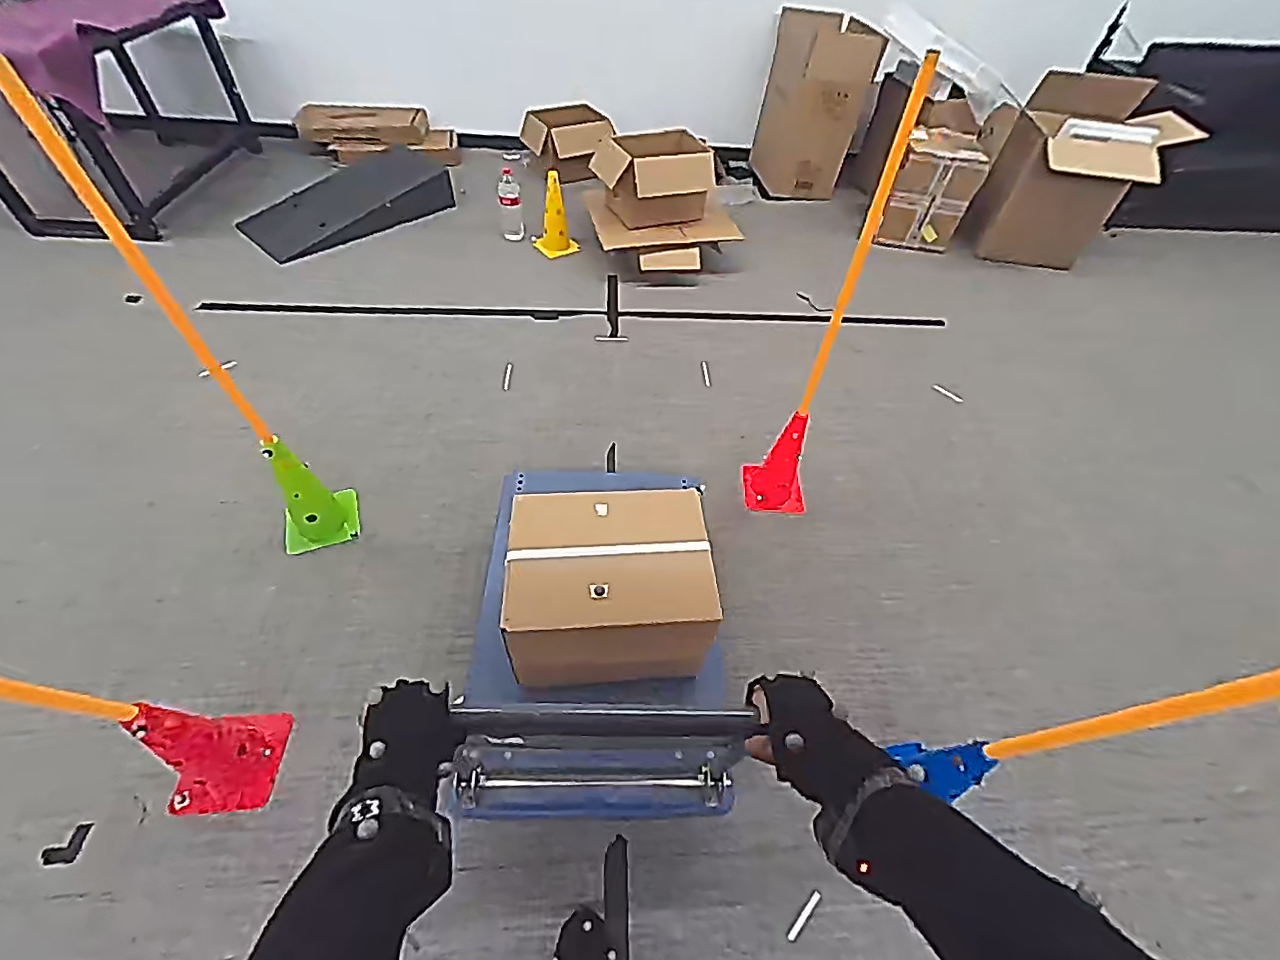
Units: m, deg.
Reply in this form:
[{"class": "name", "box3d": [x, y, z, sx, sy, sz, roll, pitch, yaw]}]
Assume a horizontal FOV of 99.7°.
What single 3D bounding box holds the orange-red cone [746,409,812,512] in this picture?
[{"class": "orange-red cone", "box3d": [0.476, -0.084, 1.715, 0.199, 0.360, 0.198, 6, 51, -1]}]
